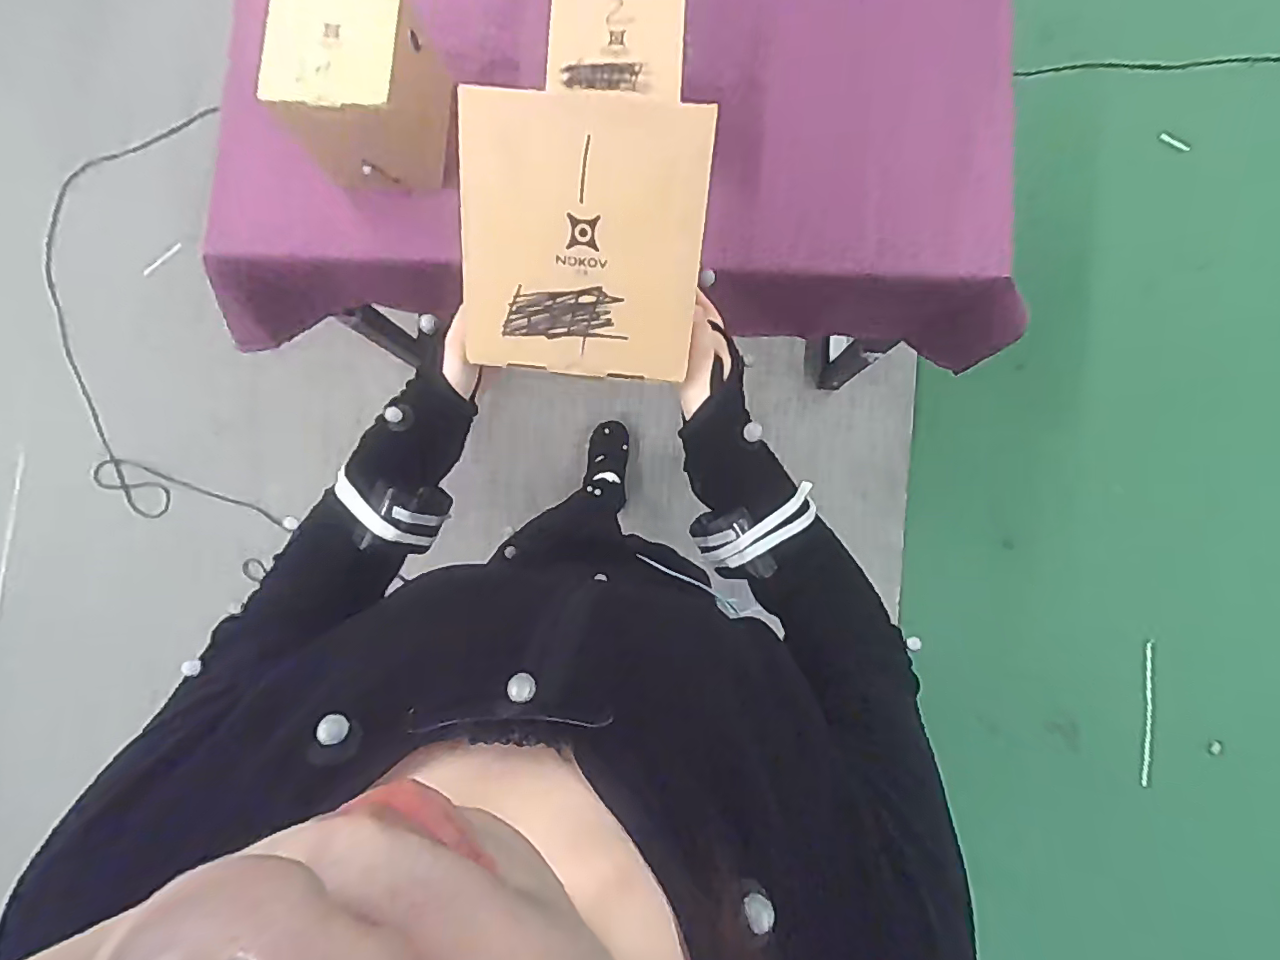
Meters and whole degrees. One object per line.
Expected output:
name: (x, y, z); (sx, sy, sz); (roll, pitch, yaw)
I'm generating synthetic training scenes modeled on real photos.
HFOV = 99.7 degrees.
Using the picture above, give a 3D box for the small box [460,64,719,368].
small box: (-0.033, -0.200, 0.439); (0.168, 0.176, 0.179); (6, 111, 1)

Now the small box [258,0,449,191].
small box: (-0.378, -0.536, 0.746); (0.168, 0.176, 0.179); (4, 85, 2)
